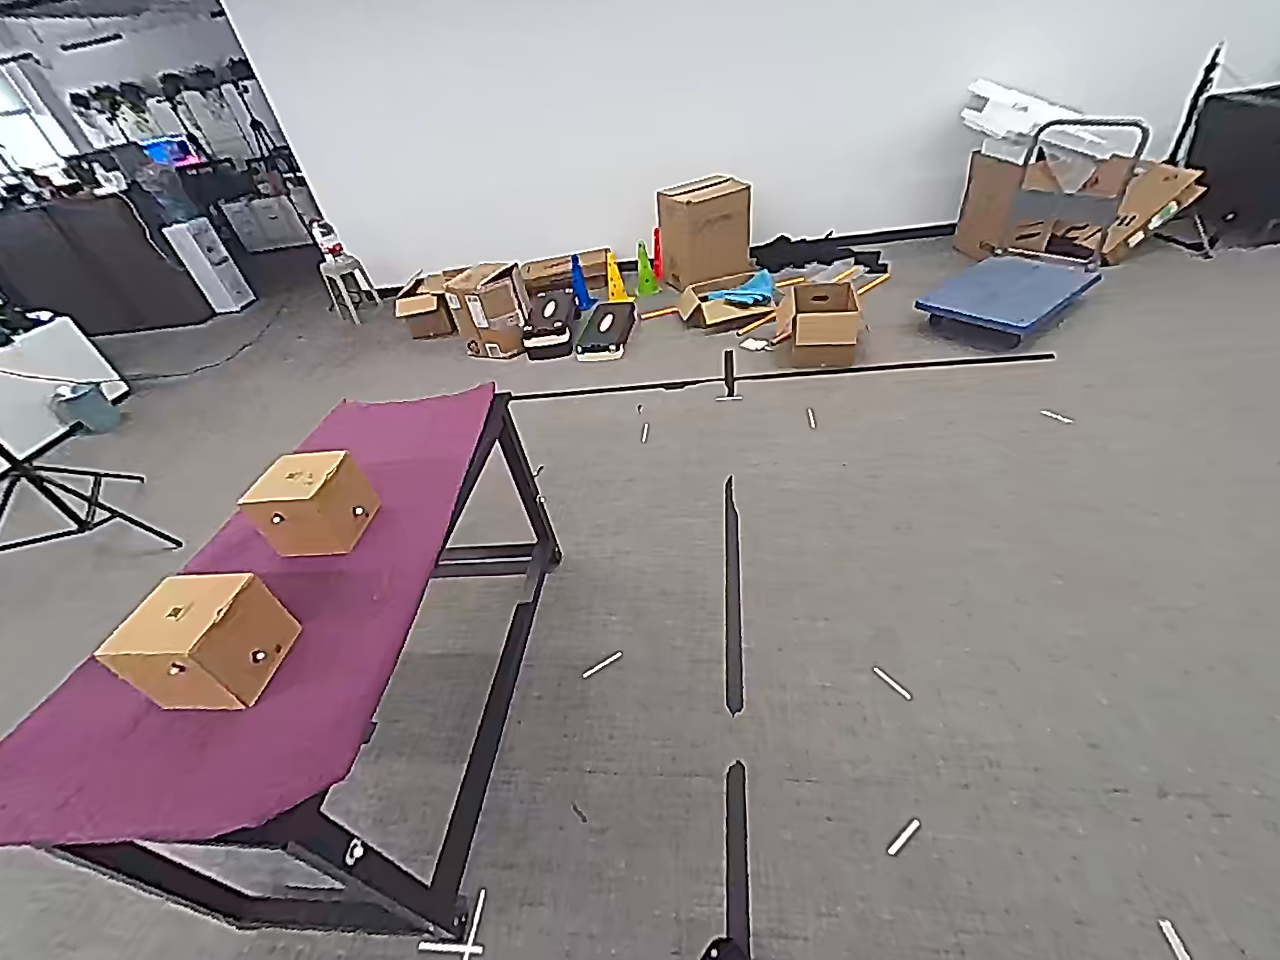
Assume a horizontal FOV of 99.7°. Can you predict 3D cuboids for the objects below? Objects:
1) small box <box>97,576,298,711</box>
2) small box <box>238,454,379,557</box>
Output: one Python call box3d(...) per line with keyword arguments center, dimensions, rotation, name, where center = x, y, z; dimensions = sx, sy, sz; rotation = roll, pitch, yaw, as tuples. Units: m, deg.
box3d(center=(-0.758, 0.289, 0.950), dimensions=(0.179, 0.176, 0.168), rotation=(-3, 39, 7), name="small box")
box3d(center=(-0.734, 0.061, 1.219), dimensions=(0.179, 0.176, 0.168), rotation=(-3, 40, 8), name="small box")
